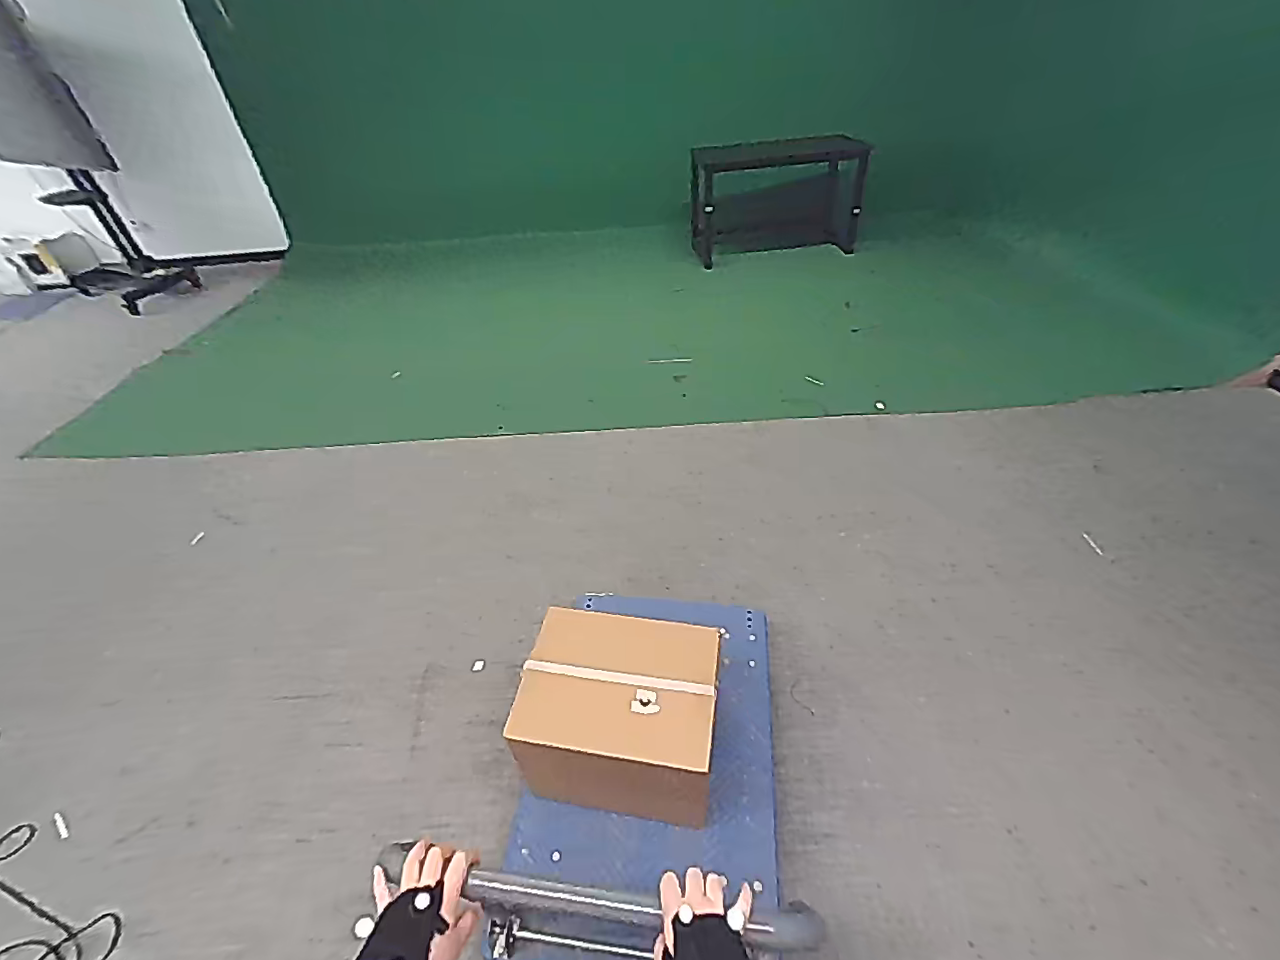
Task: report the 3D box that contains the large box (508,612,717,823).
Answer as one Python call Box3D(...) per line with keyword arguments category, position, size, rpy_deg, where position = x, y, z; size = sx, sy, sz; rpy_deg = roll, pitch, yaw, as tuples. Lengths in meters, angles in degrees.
Box3D(category="large box", position=(-0.042, 0.541, 1.247), size=(0.408, 0.320, 0.320), rpy_deg=(5, 41, 9))
